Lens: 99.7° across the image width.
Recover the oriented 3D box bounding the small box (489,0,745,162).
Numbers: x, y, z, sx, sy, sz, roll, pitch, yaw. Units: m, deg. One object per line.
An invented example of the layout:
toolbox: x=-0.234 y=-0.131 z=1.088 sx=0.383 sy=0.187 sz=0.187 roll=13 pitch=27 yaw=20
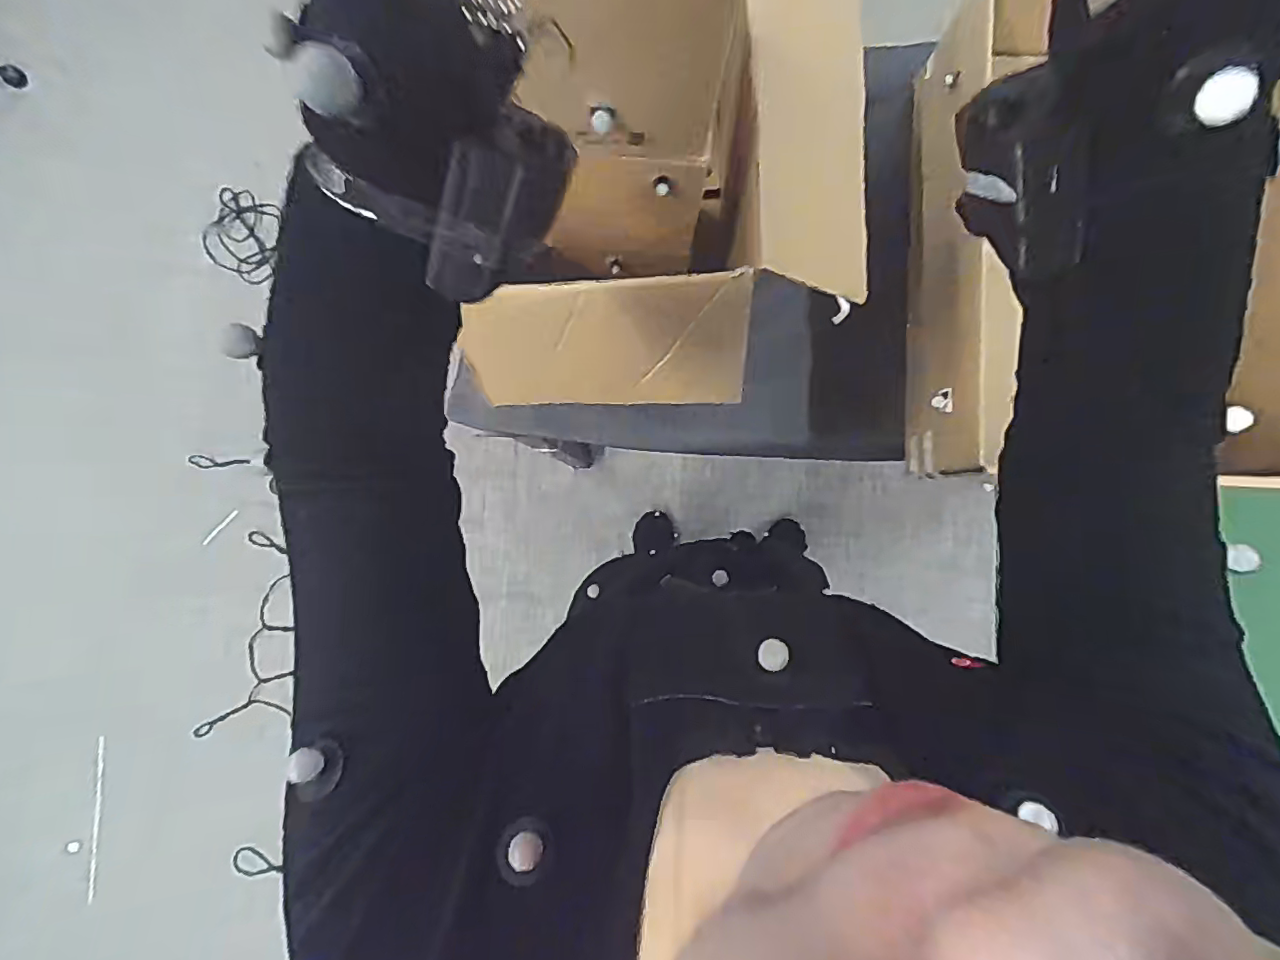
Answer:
small box: x=-0.018 y=-0.375 z=0.399 sx=0.168 sy=0.176 sz=0.179 roll=0 pitch=85 yaw=-1
